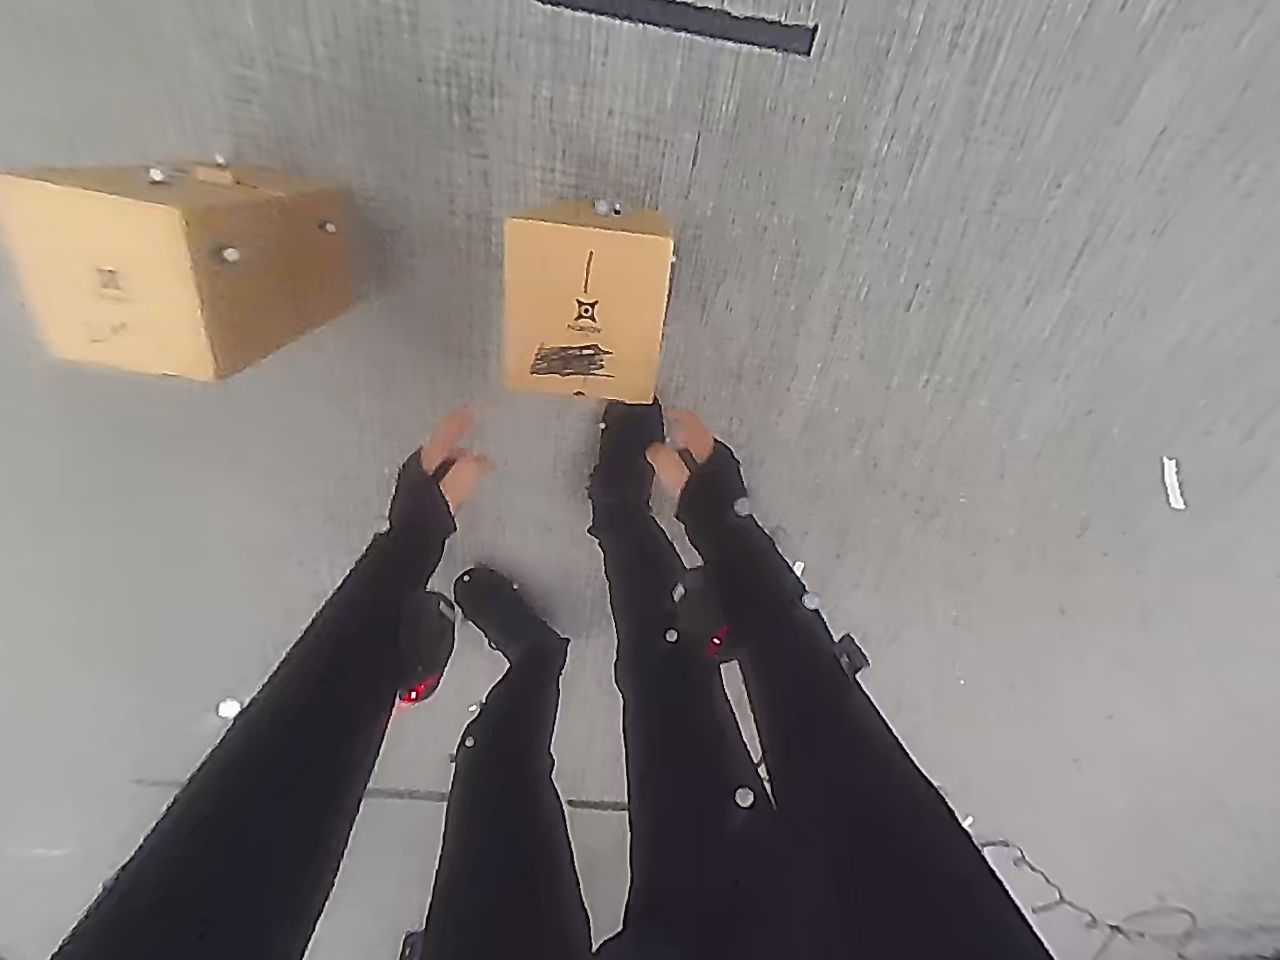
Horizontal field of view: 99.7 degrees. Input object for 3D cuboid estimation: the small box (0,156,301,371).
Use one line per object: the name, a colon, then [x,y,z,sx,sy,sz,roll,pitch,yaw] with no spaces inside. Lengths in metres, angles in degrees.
small box: [-0.511,-0.244,0.601,0.168,0.176,0.179,9,121,-6]

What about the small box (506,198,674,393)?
small box: [-0.058,-0.220,0.632,0.168,0.176,0.179,5,119,-5]
